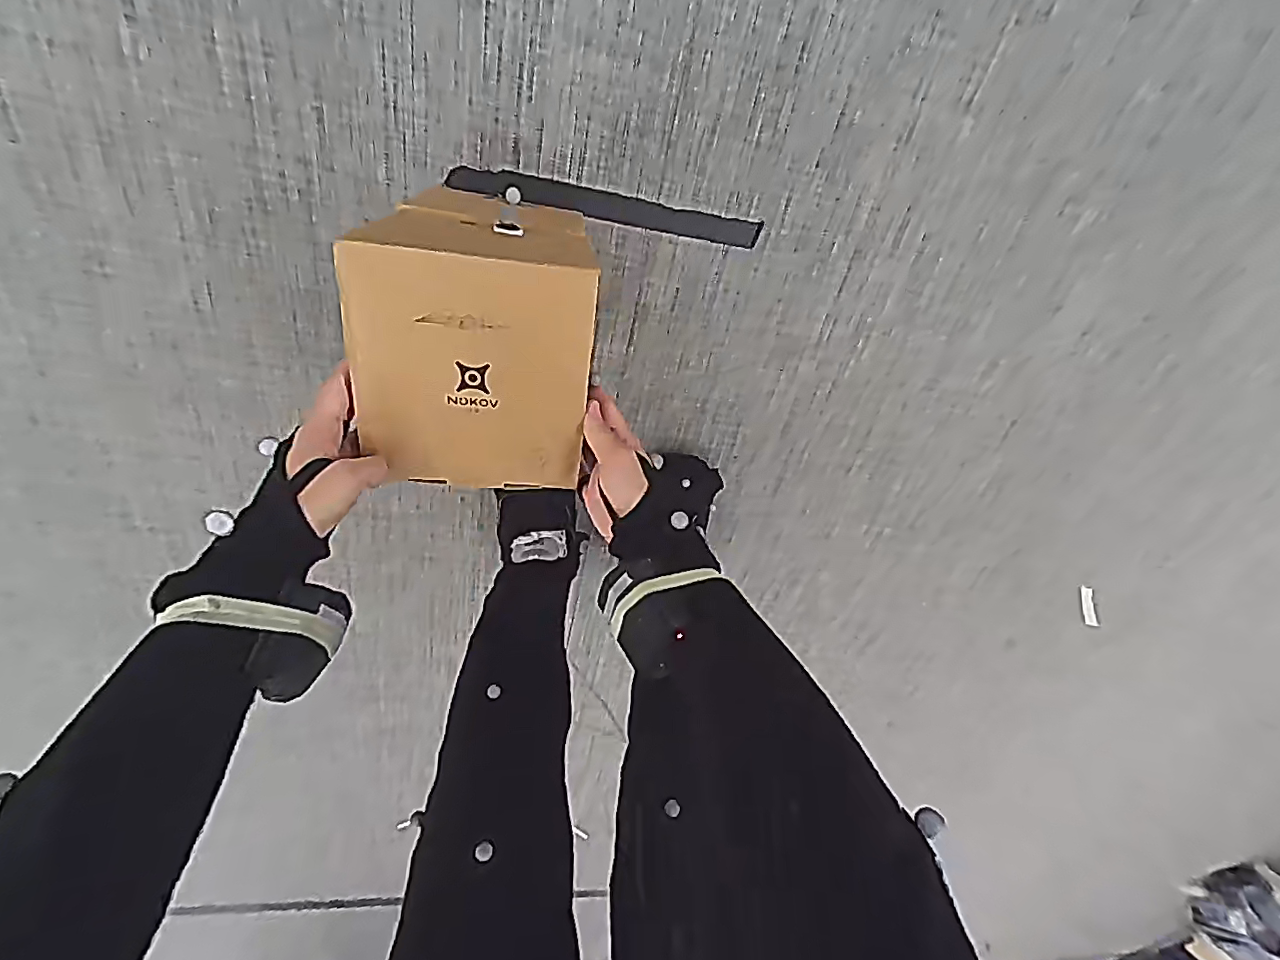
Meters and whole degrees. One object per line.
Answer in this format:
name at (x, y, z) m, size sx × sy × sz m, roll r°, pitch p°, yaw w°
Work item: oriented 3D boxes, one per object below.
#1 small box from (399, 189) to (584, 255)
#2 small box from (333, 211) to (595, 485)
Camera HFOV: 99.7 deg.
small box at (-0.153, -0.201, 0.592) m, size 0.168 × 0.176 × 0.179 m, roll 5°, pitch 122°, yaw -11°
small box at (-0.130, -0.114, 0.456) m, size 0.168 × 0.176 × 0.179 m, roll 1°, pitch 121°, yaw -10°
